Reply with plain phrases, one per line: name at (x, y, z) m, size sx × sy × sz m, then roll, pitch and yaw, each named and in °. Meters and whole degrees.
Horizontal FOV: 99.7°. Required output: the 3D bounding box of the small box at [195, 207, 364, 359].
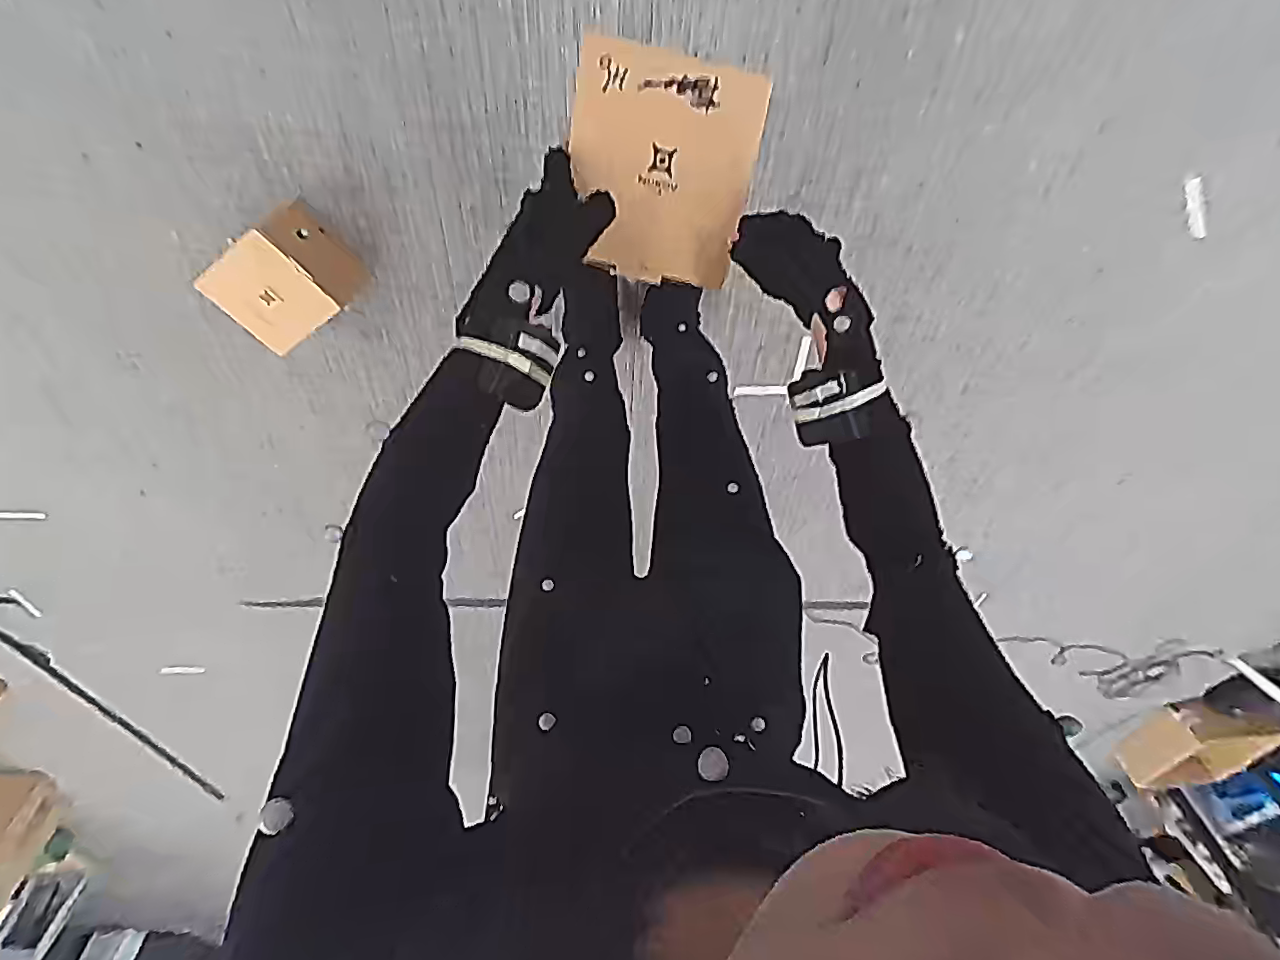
small box at (-0.637, -0.360, 0.984) m, size 0.179 × 0.176 × 0.168 m, roll -27°, pitch 126°, yaw 20°

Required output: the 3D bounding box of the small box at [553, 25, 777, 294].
small box at (0.015, -0.300, 0.540) m, size 0.168 × 0.176 × 0.179 m, roll 10°, pitch 114°, yaw -7°
